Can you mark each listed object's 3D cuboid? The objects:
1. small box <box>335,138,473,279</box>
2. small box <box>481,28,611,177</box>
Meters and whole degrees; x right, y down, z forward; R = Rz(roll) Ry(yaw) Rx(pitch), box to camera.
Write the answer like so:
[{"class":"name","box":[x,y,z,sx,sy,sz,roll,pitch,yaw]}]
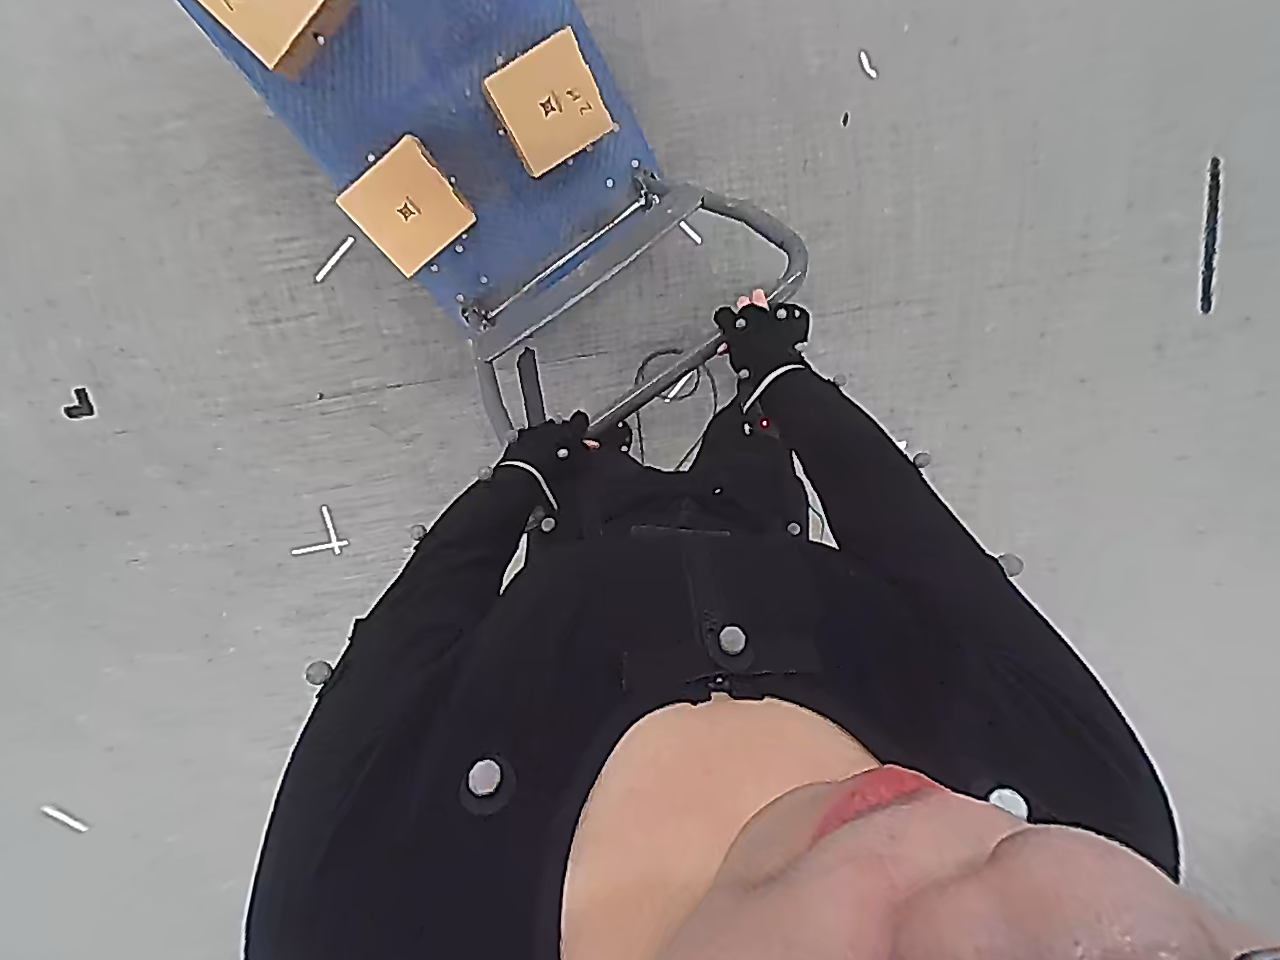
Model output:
[{"class":"small box","box":[-0.443,-0.520,1.041,0.179,0.176,0.168,-39,124,5]},{"class":"small box","box":[-0.180,-0.699,1.020,0.179,0.176,0.168,-32,125,2]}]
